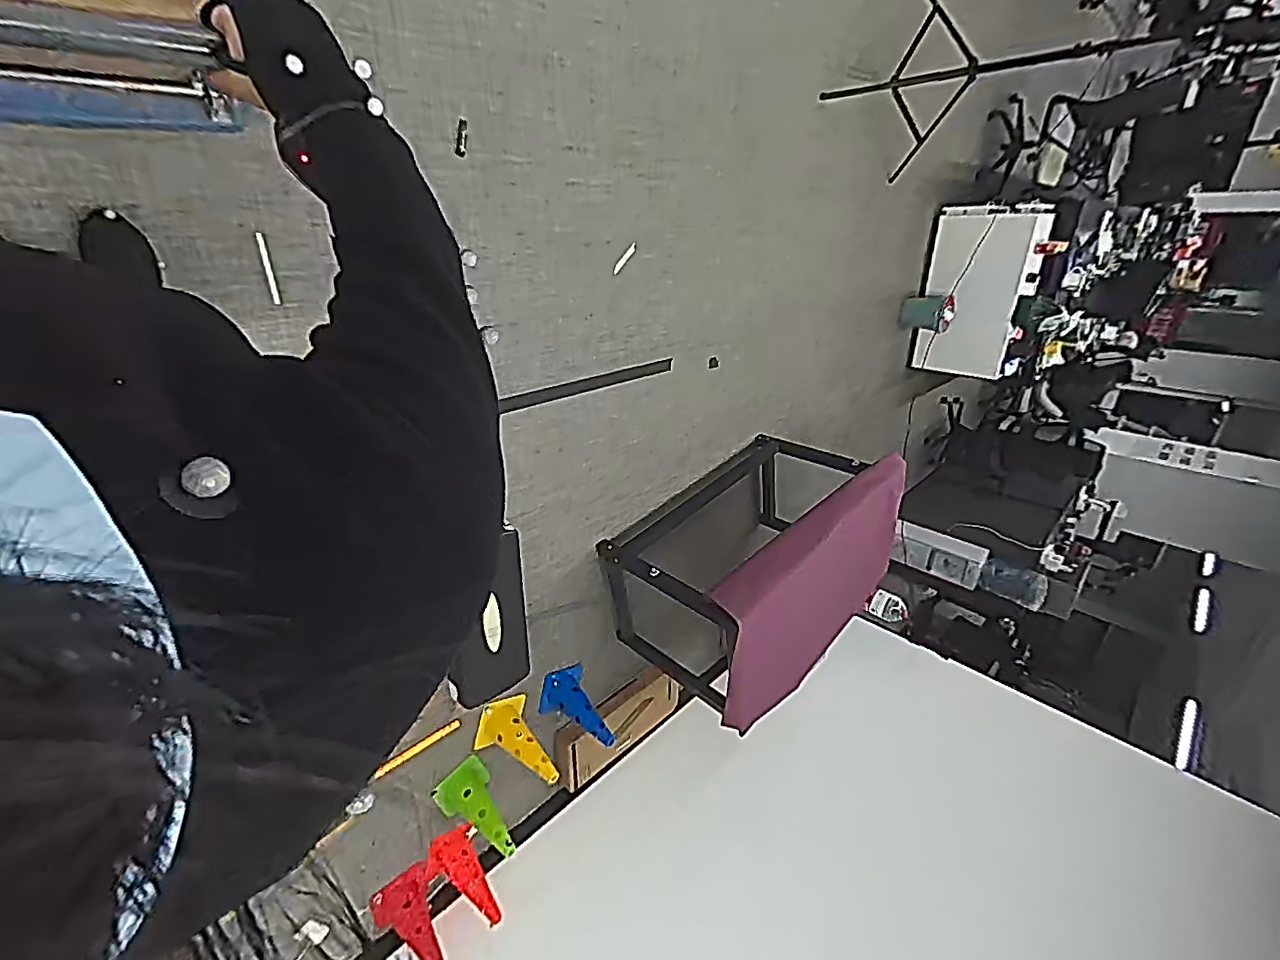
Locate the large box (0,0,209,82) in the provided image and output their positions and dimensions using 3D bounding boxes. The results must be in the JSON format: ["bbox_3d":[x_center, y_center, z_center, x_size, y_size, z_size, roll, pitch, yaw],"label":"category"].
[{"bbox_3d":[-0.815,-0.688,0.617,0.408,0.320,0.320,-25,125,-39],"label":"large box"}]
